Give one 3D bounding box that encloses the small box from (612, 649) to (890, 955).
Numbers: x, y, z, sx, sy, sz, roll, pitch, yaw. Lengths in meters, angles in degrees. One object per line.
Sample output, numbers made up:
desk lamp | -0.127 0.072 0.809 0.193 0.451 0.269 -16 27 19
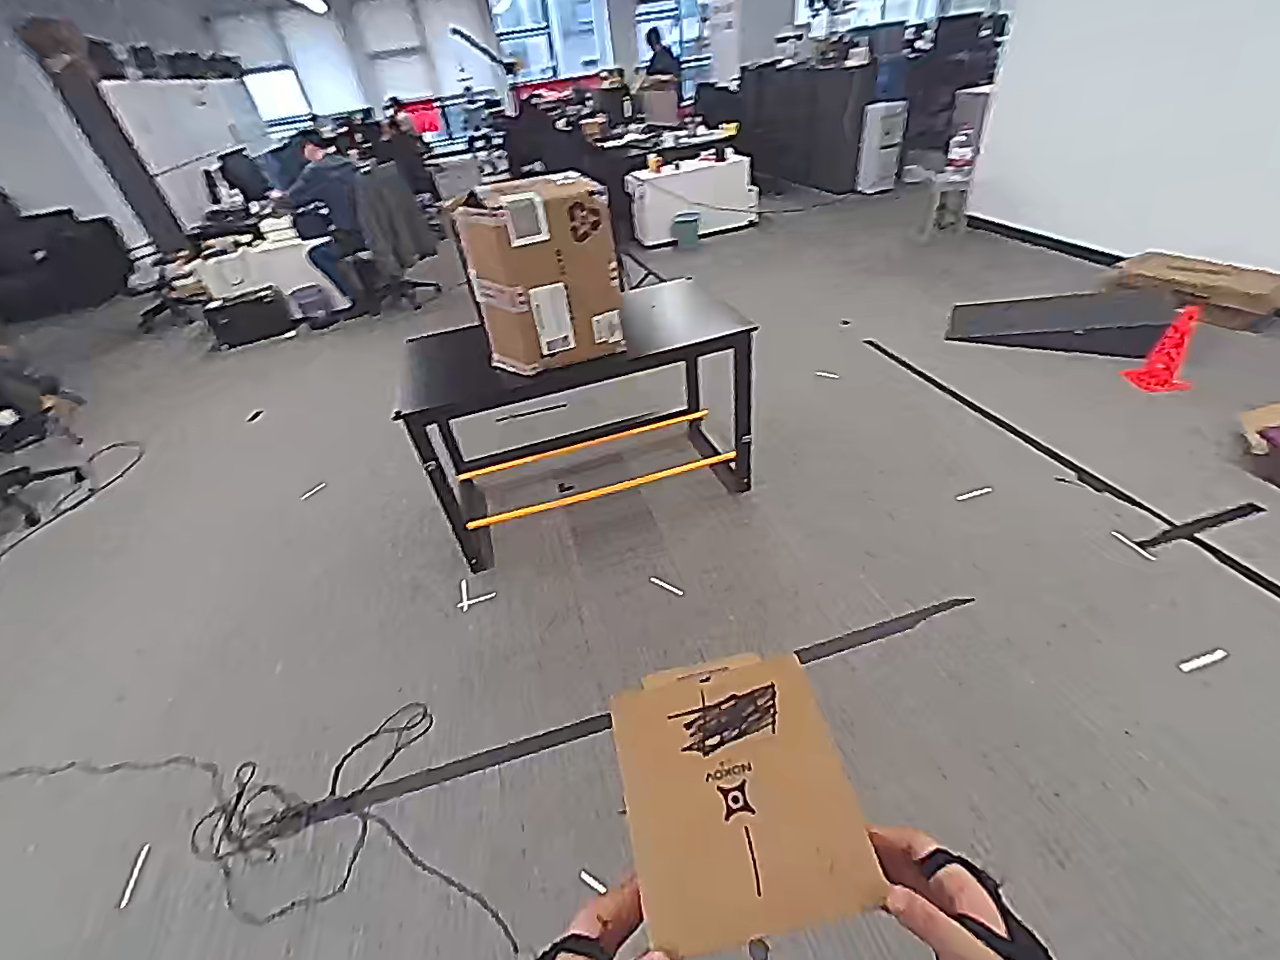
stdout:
small box | 0.077 0.275 0.466 0.168 0.176 0.179 -13 51 -3
